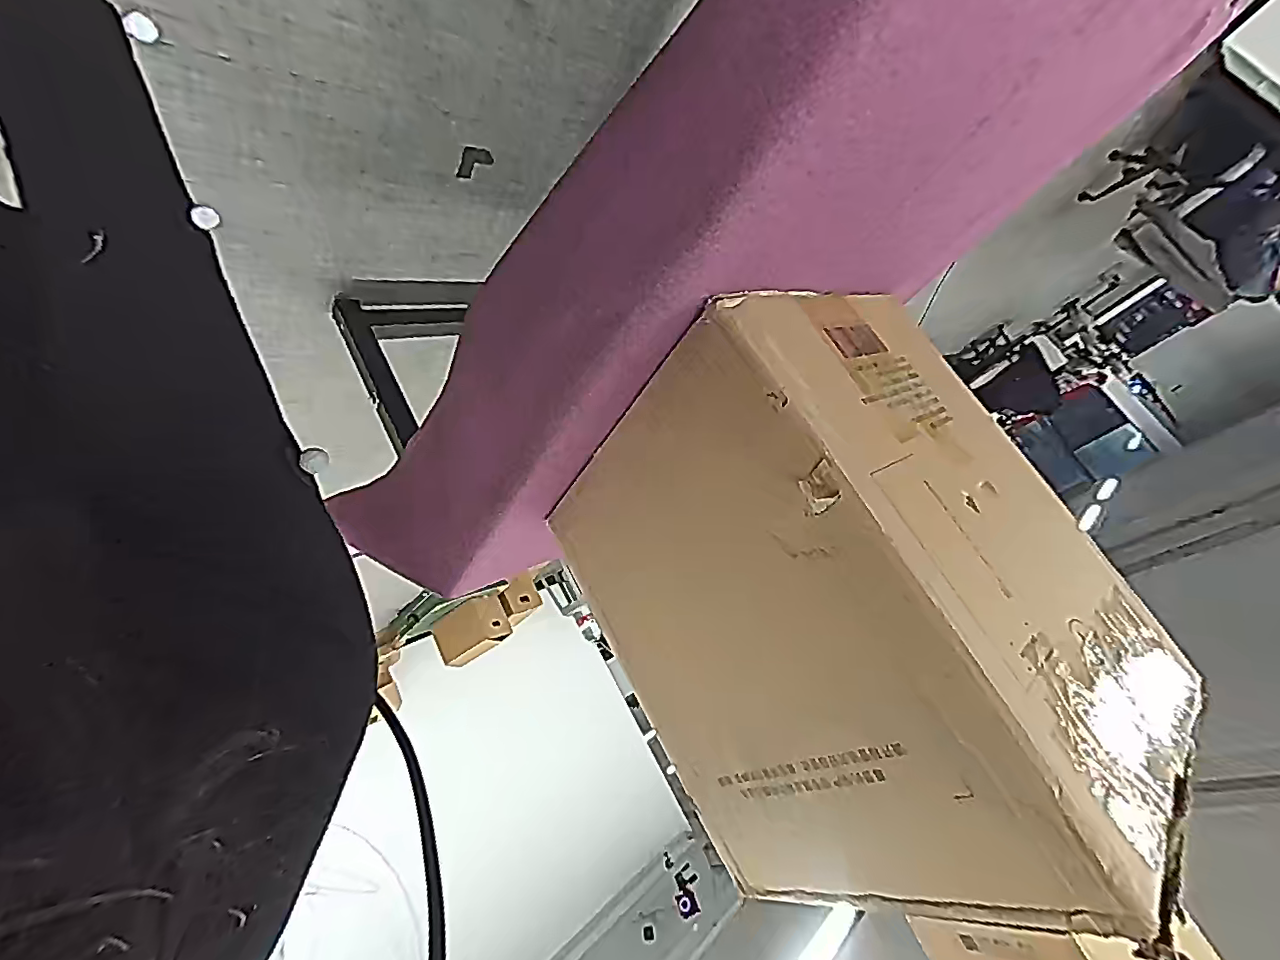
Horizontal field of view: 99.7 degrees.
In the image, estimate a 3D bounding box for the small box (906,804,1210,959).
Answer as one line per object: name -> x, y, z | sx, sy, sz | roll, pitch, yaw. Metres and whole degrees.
small box -> 0.408, 0.451, 0.534 | 0.179, 0.176, 0.168 | -18, 162, -40
